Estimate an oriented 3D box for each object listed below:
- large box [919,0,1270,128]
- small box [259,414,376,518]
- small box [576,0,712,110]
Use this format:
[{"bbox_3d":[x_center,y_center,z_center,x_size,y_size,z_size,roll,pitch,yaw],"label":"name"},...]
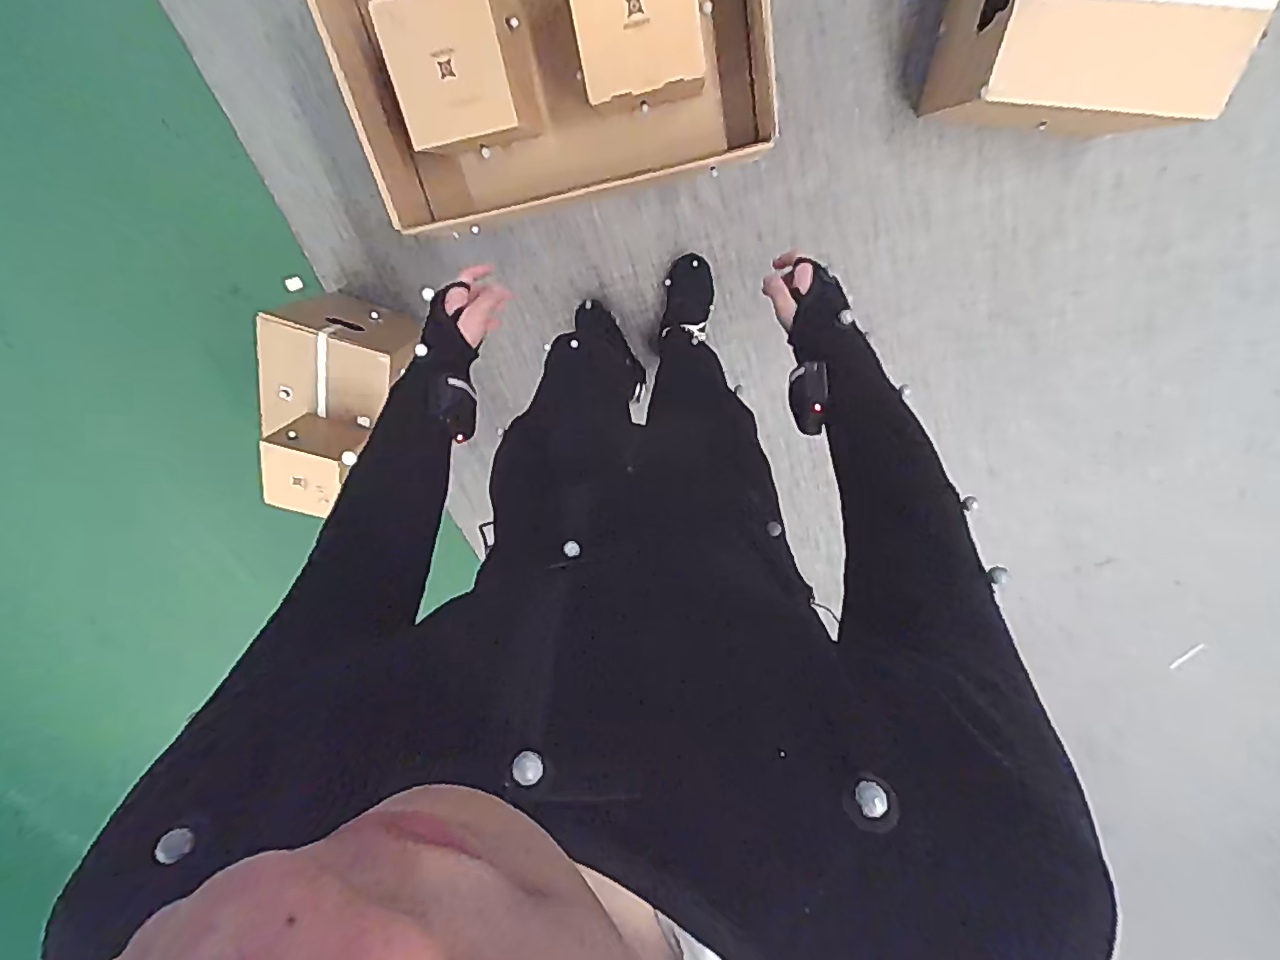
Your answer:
[{"bbox_3d":[0.810,-0.847,0.988,0.408,0.320,0.320,6,118,2],"label":"large box"},{"bbox_3d":[-0.750,-0.040,1.268,0.179,0.176,0.168,15,119,-5],"label":"small box"},{"bbox_3d":[0.005,-0.649,0.760,0.168,0.176,0.179,-8,119,9],"label":"small box"}]
